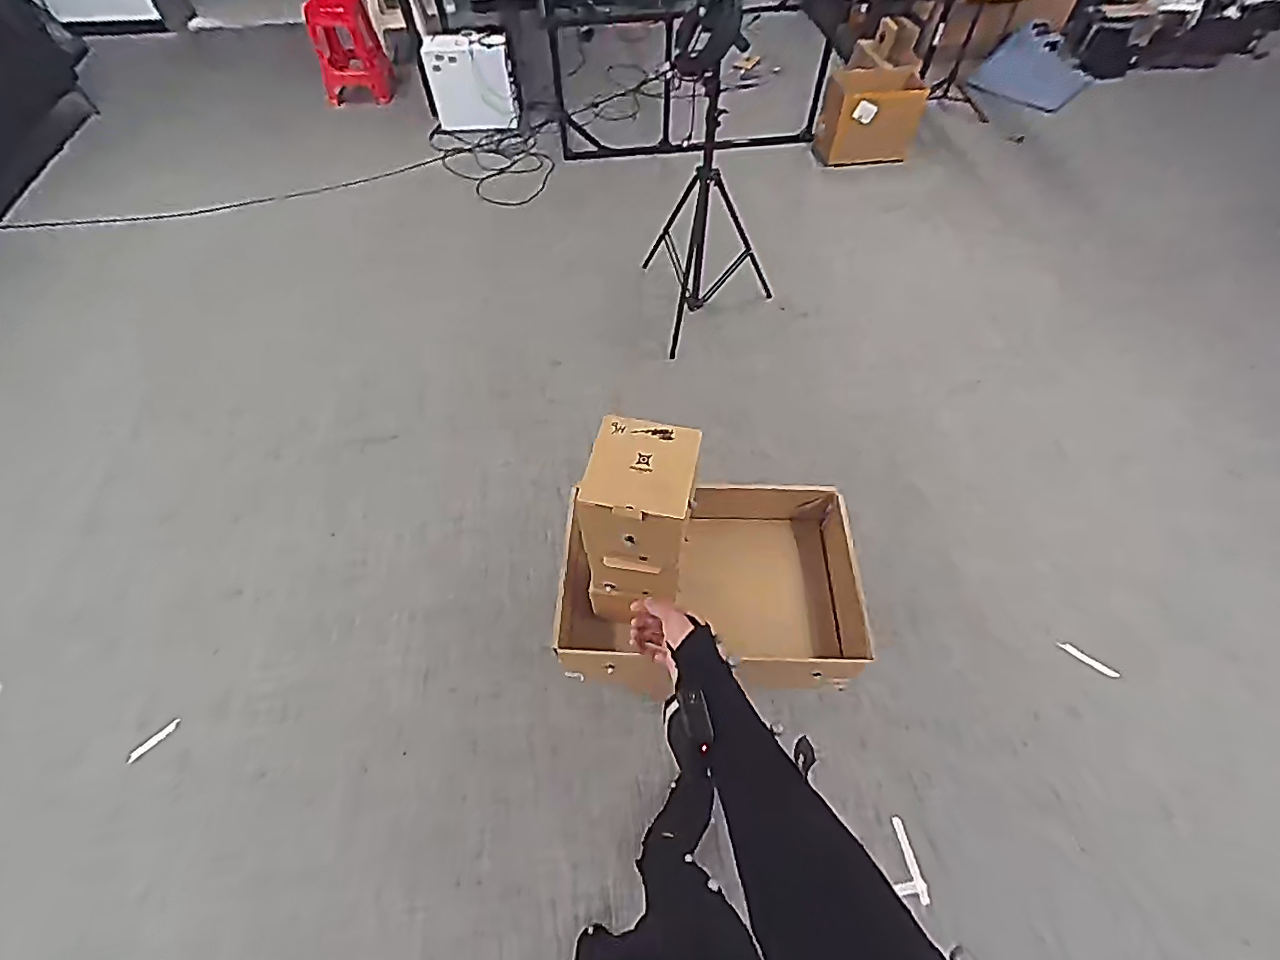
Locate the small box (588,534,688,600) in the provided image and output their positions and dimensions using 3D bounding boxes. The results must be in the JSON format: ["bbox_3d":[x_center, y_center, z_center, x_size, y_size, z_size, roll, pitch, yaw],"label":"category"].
[{"bbox_3d":[0.005,0.114,1.040,0.168,0.176,0.179,8,56,6],"label":"small box"}]

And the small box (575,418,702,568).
[{"bbox_3d":[0.004,0.027,0.900,0.168,0.176,0.179,11,57,8],"label":"small box"}]
